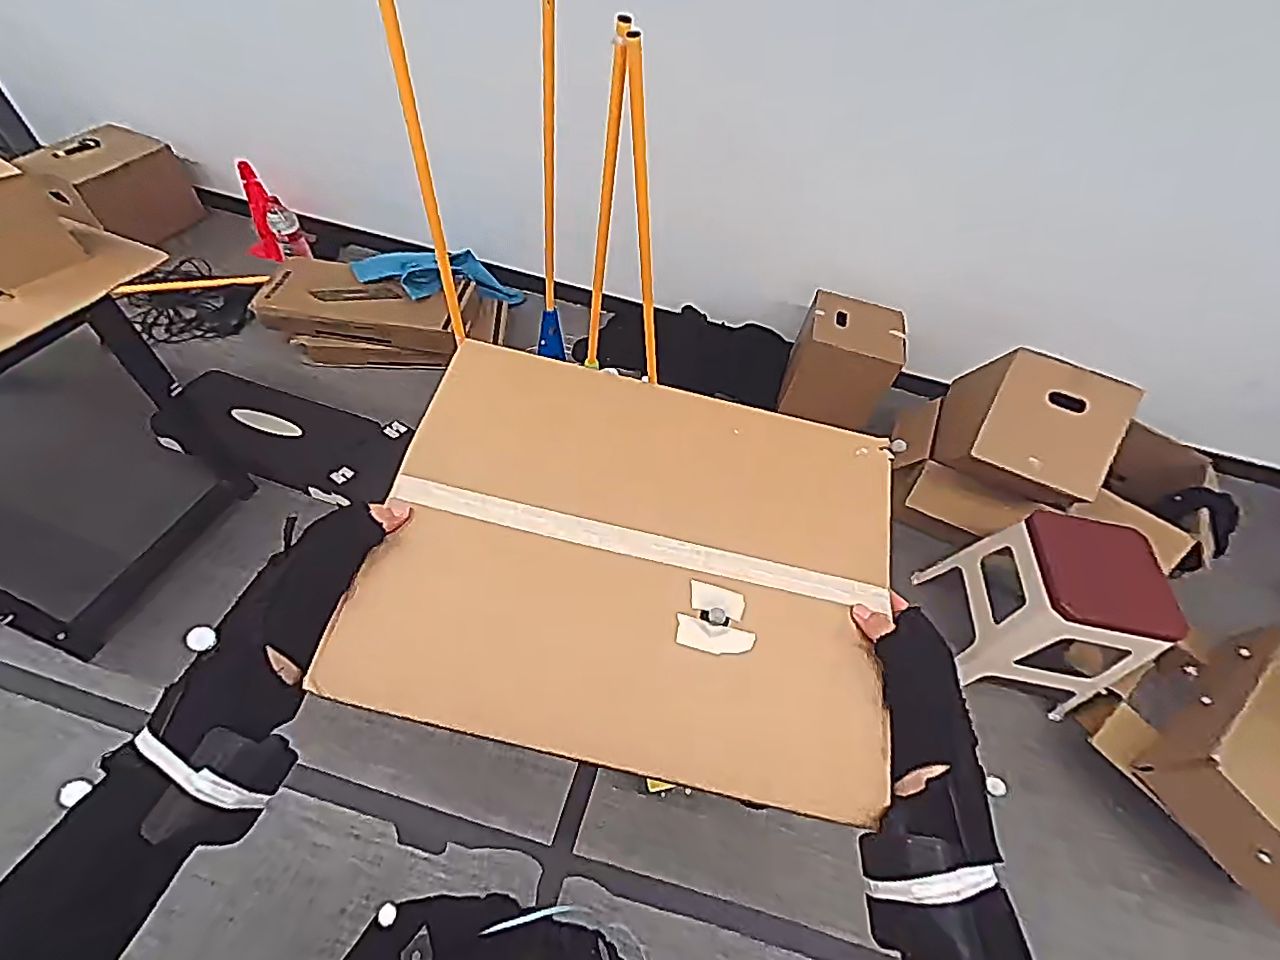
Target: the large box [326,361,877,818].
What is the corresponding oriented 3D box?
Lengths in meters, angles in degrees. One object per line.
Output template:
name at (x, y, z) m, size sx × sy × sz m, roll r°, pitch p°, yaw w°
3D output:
large box at (-0.017, 0.126, 0.578) m, size 0.408 × 0.320 × 0.320 m, roll 14°, pitch 65°, yaw 0°
